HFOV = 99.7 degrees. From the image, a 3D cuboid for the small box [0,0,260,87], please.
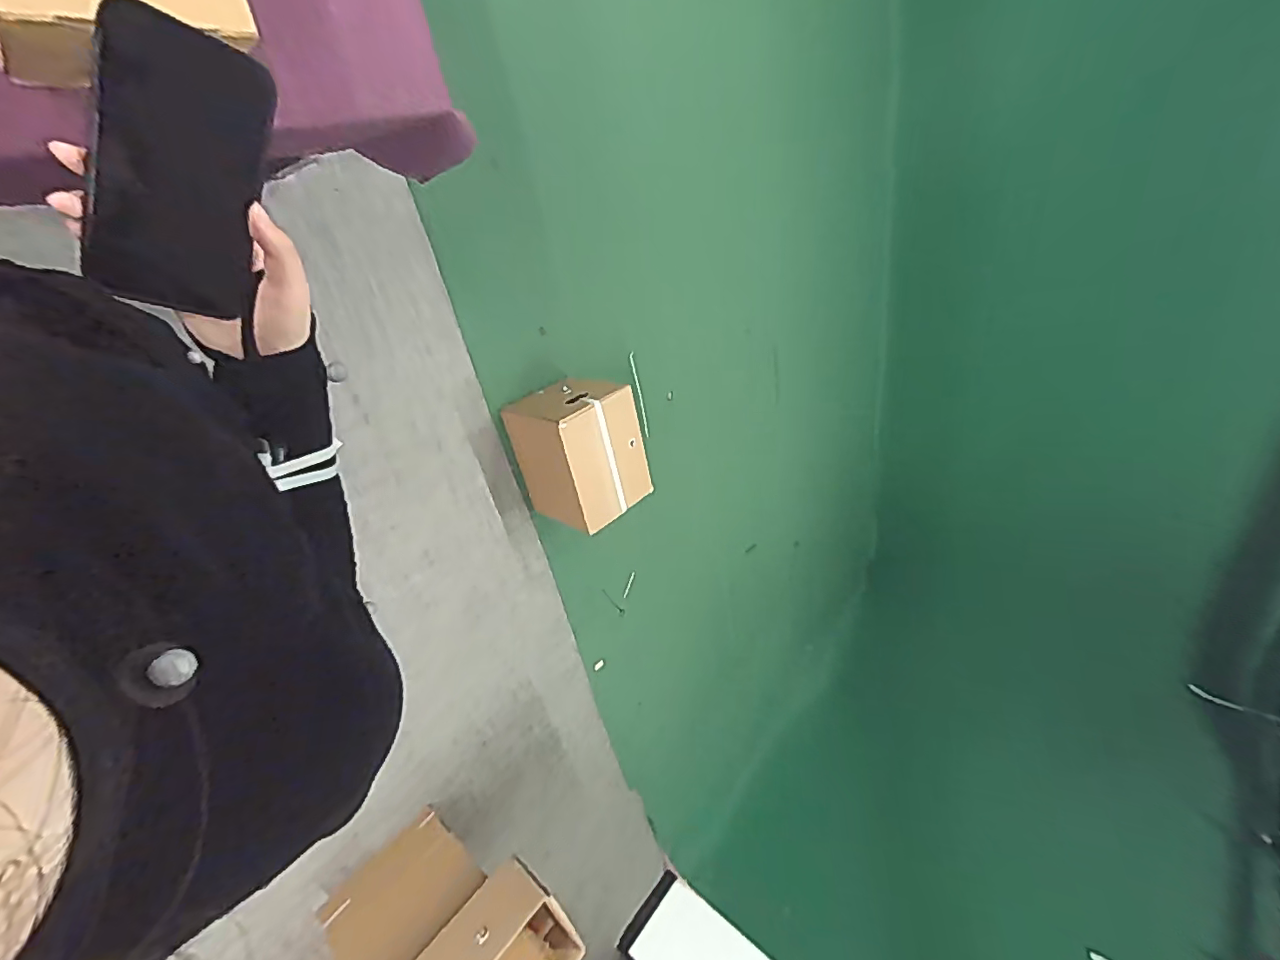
[{"bbox_3d":[-0.454,-0.447,0.436,0.168,0.176,0.179,-31,125,-37],"label":"small box"}]
